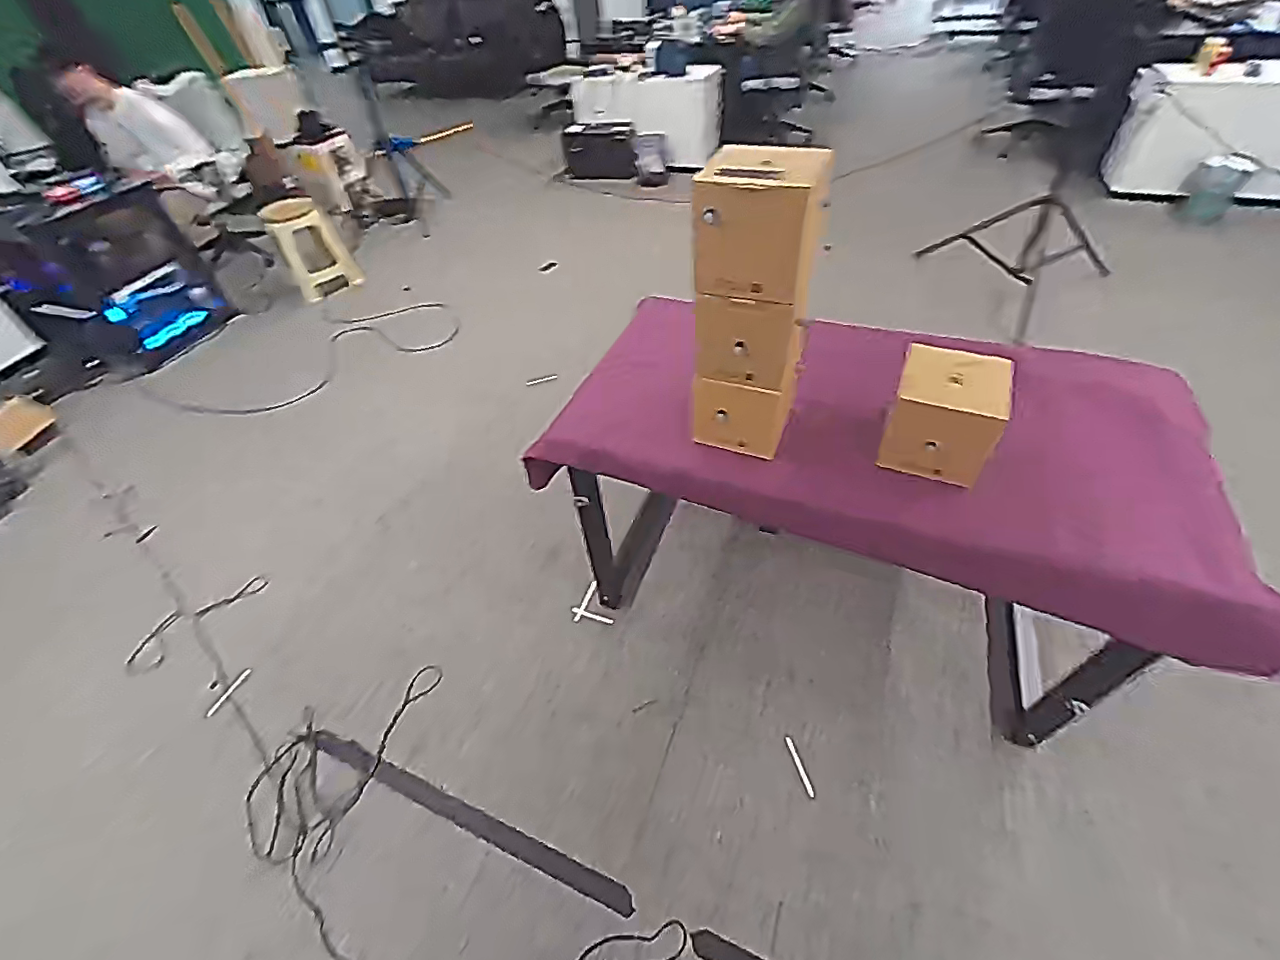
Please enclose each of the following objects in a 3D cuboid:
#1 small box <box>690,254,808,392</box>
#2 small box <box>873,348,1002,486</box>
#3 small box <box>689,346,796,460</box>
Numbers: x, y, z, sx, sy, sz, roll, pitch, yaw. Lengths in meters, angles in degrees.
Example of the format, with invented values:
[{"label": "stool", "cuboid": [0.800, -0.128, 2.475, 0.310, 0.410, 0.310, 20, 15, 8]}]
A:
[{"label": "small box", "cuboid": [0.194, -0.281, 0.972, 0.168, 0.176, 0.179, 13, 50, 17]}, {"label": "small box", "cuboid": [0.547, -0.116, 1.006, 0.168, 0.176, 0.179, 17, 51, 19]}, {"label": "small box", "cuboid": [0.205, -0.165, 1.087, 0.168, 0.176, 0.179, 15, 49, 18]}]
